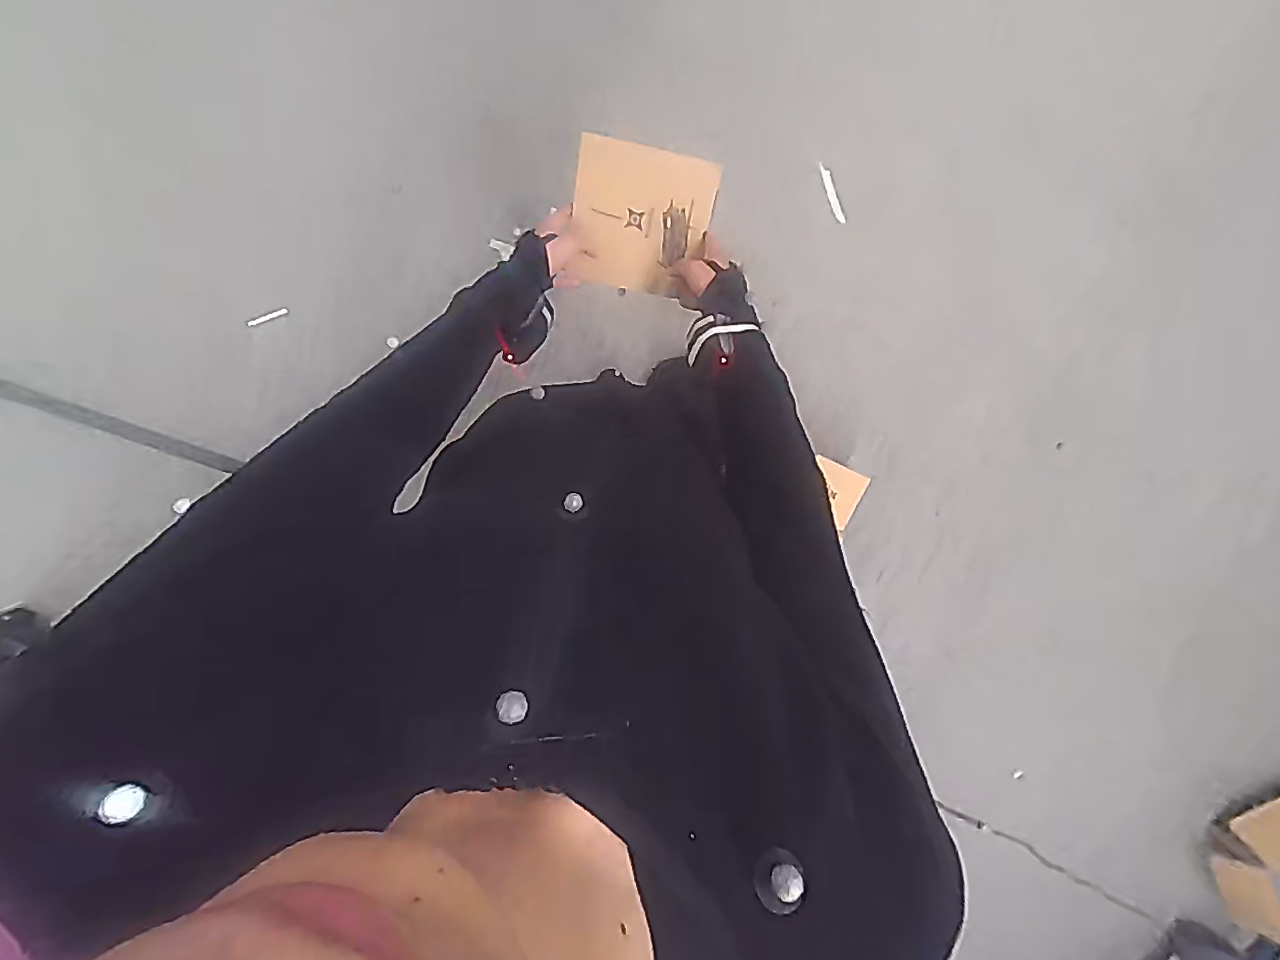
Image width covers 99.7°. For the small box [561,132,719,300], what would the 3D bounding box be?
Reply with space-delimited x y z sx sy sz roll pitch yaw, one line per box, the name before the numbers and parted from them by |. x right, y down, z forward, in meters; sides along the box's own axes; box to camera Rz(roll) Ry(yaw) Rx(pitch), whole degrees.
small box | -0.007 -0.356 0.745 0.179 0.176 0.168 8 113 -6
